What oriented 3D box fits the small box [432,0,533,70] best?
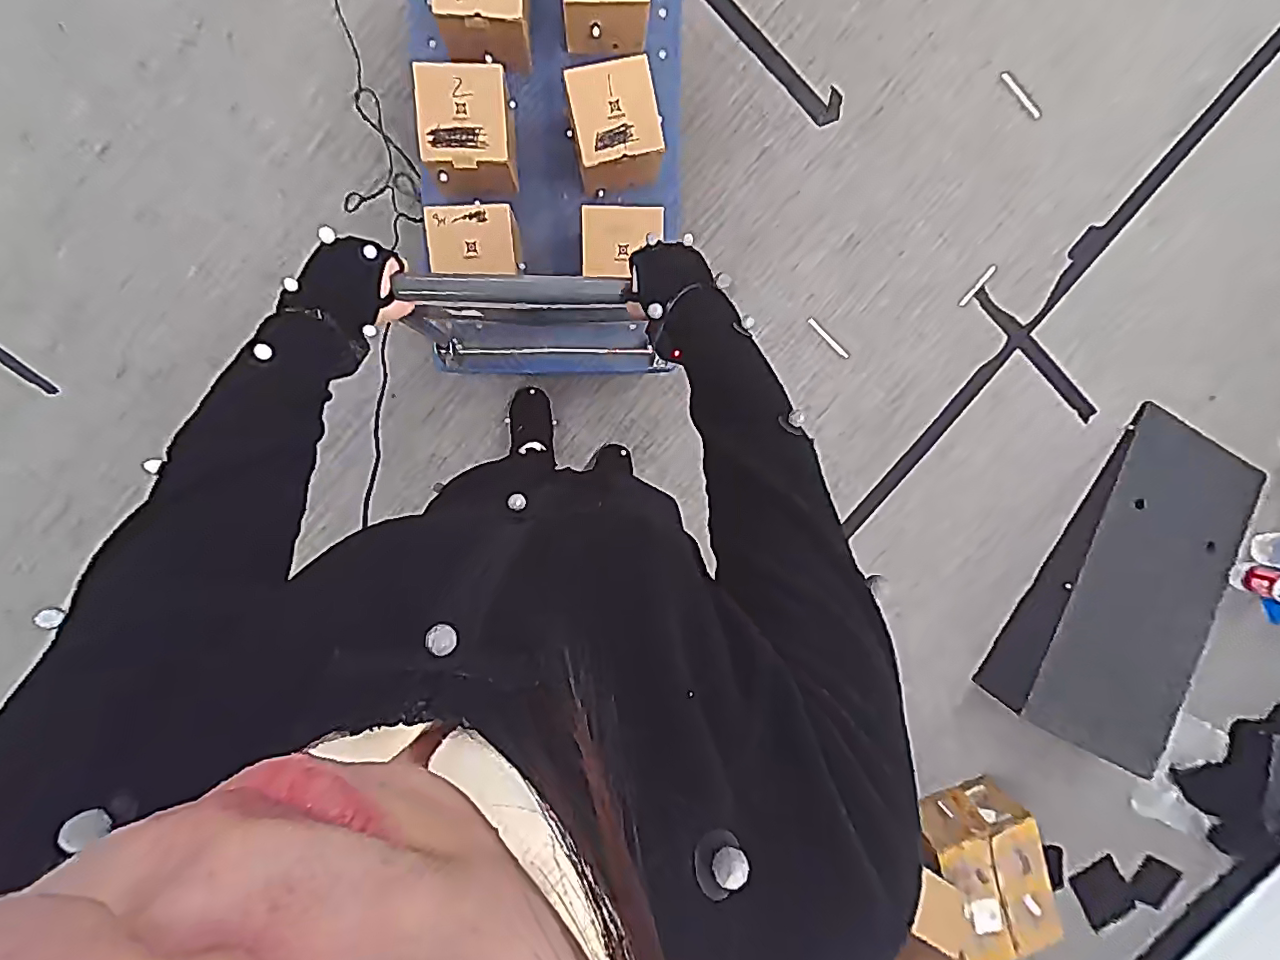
[{"bbox_3d":[-0.305,-0.956,1.063,0.168,0.176,0.179,1,100,-5],"label":"small box"}]

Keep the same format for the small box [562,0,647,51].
[{"bbox_3d":[-0.074,-0.997,1.078,0.168,0.176,0.179,-4,99,-4],"label":"small box"}]

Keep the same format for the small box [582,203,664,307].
[{"bbox_3d":[-0.040,-0.475,1.165,0.168,0.176,0.179,-1,99,-5],"label":"small box"}]

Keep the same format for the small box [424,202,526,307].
[{"bbox_3d":[-0.337,-0.464,1.139,0.168,0.176,0.179,-5,100,-6],"label":"small box"}]

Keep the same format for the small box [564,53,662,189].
[{"bbox_3d":[-0.055,-0.729,1.122,0.168,0.176,0.179,-13,99,-3],"label":"small box"}]
